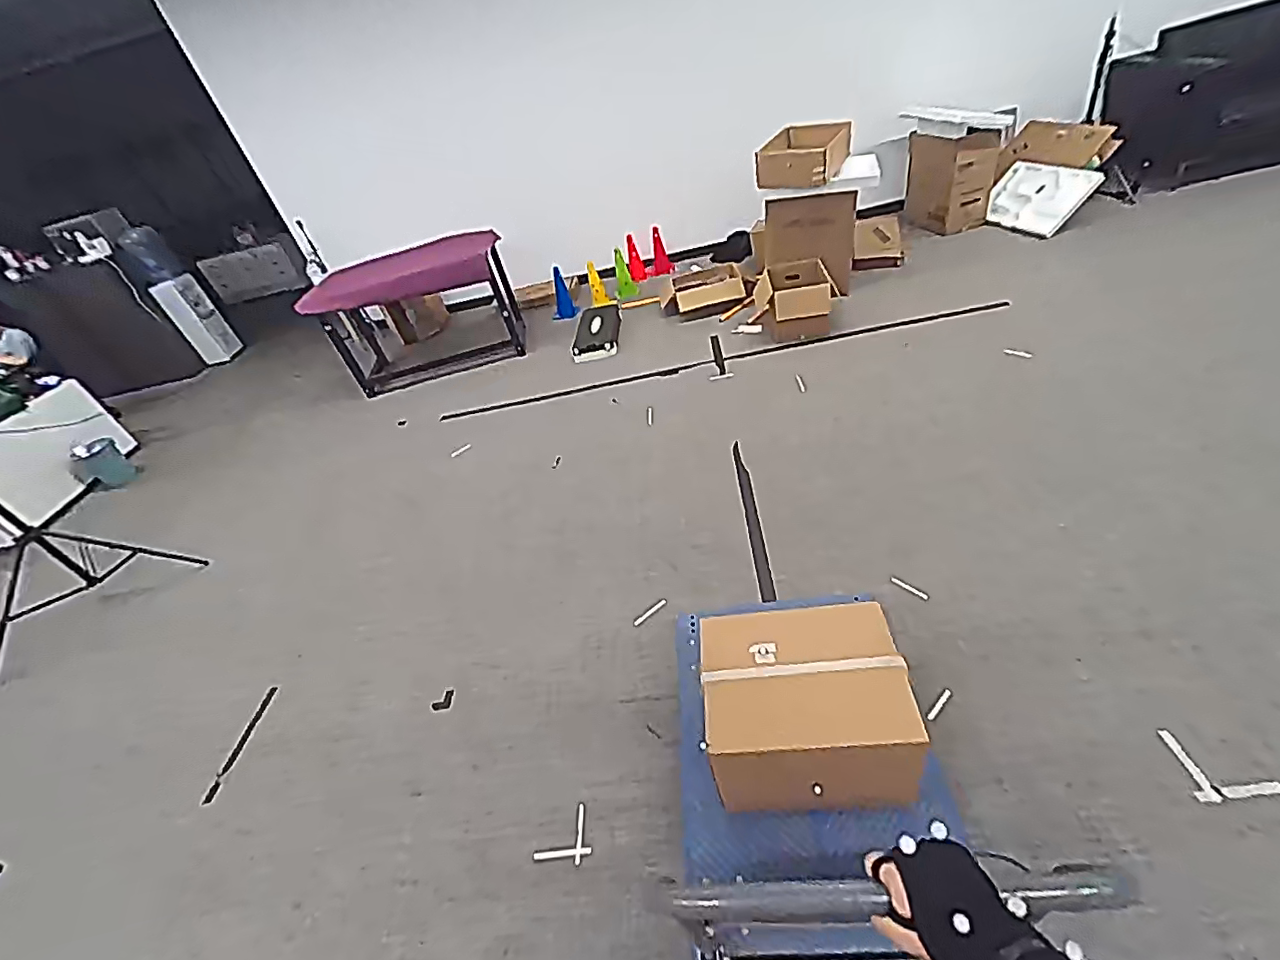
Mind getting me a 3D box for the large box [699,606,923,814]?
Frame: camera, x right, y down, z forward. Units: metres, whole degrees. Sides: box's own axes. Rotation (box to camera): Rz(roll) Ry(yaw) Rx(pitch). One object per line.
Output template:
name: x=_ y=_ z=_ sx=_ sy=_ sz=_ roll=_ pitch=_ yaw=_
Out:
large box: x=0.365 y=0.524 z=1.224 sx=0.408 sy=0.320 sz=0.320 roll=-10 pitch=38 yaw=10
